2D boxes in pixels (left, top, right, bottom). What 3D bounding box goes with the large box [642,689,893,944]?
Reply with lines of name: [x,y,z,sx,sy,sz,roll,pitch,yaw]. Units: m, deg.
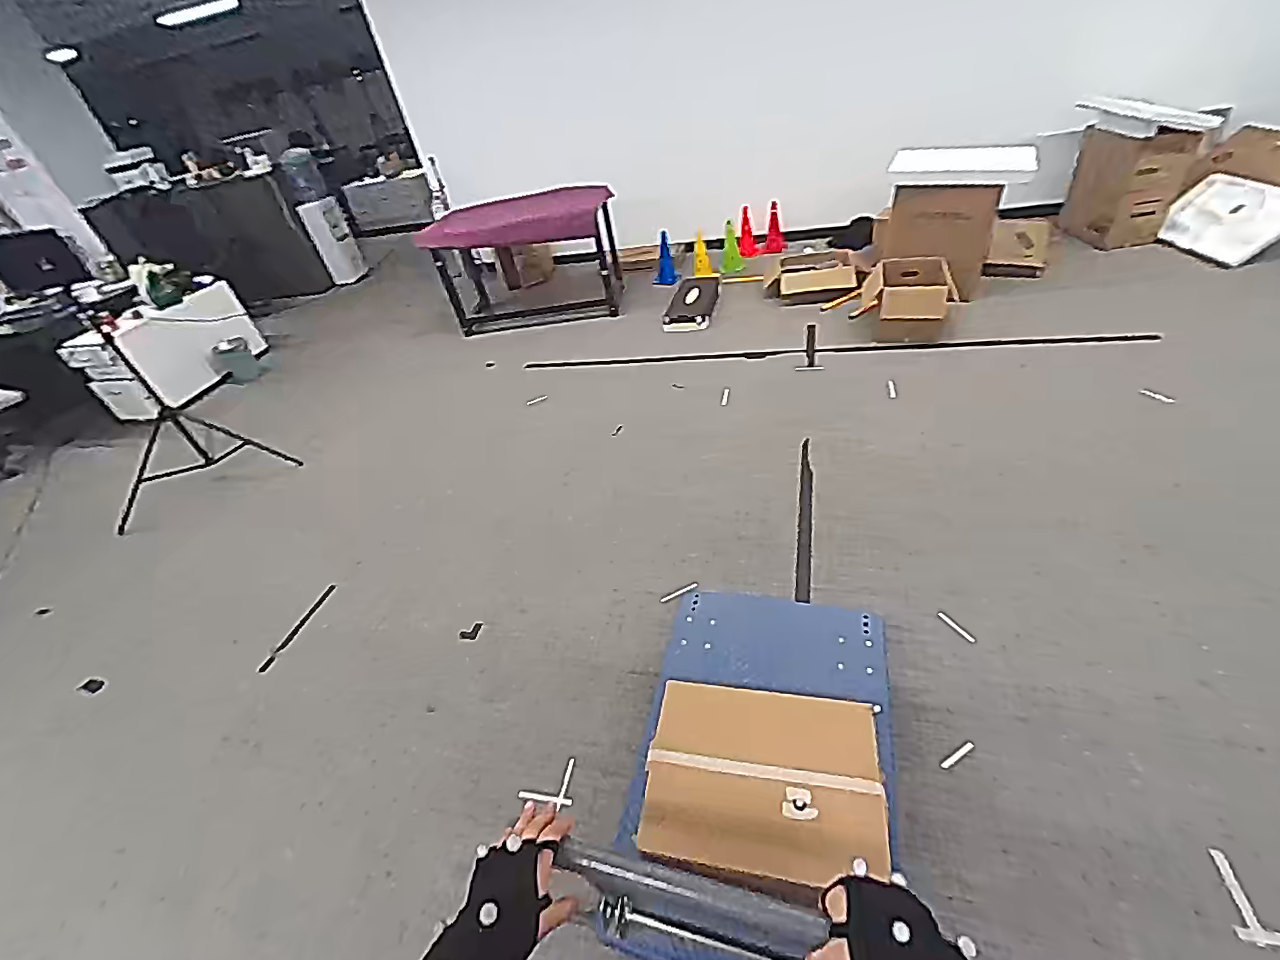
large box: [0.242,0.651,1.069,0.408,0.320,0.320,1,41,15]
